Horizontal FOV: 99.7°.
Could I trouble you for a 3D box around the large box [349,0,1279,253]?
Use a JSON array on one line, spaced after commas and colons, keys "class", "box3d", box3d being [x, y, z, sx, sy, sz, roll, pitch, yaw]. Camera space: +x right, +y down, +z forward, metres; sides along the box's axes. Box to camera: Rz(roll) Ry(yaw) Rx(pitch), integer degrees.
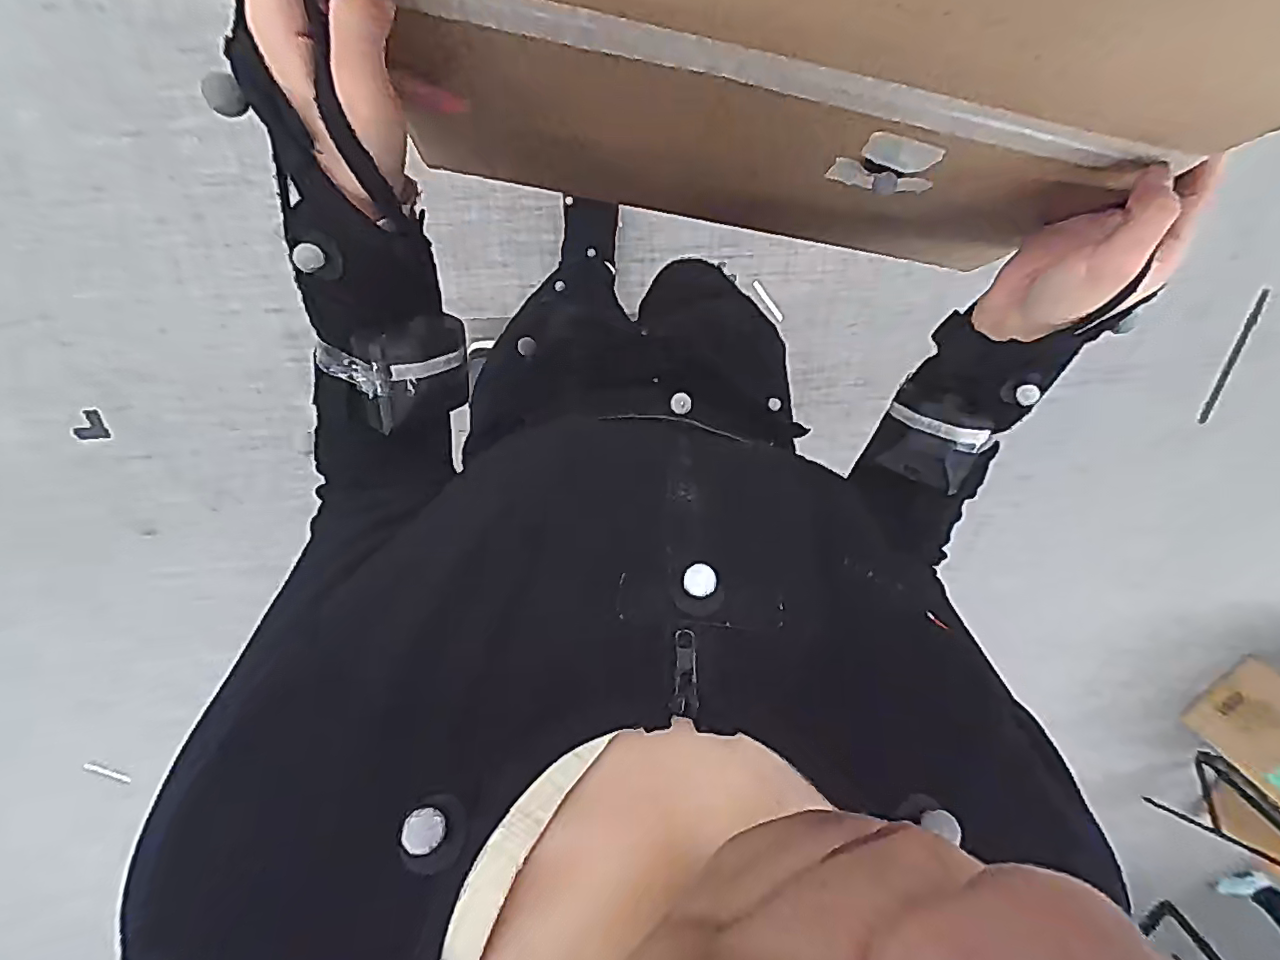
[{"class": "large box", "box3d": [0.085, -0.338, 0.238, 0.408, 0.320, 0.320, 6, 92, -8]}]
